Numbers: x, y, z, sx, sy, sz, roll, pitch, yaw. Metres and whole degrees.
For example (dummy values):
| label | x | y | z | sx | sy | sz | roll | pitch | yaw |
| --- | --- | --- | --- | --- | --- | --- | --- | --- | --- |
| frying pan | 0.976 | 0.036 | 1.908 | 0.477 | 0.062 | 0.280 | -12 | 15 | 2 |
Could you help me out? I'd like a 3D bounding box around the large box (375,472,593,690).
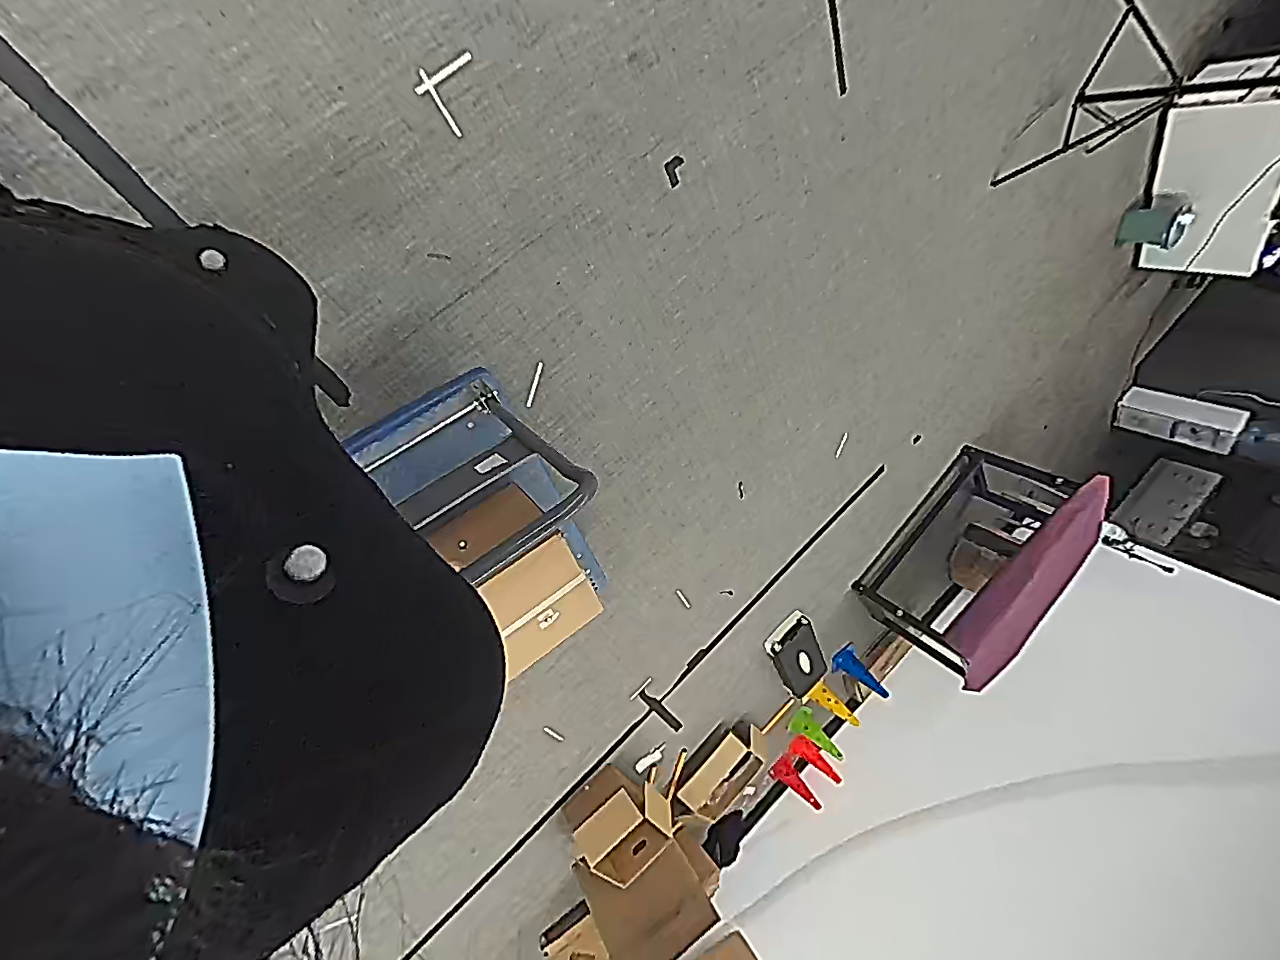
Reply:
| label | x | y | z | sx | sy | sz | roll | pitch | yaw |
| --- | --- | --- | --- | --- | --- | --- | --- | --- | --- |
| large box | -0.406 | 0.248 | 1.424 | 0.408 | 0.320 | 0.320 | -36 | 130 | -18 |
